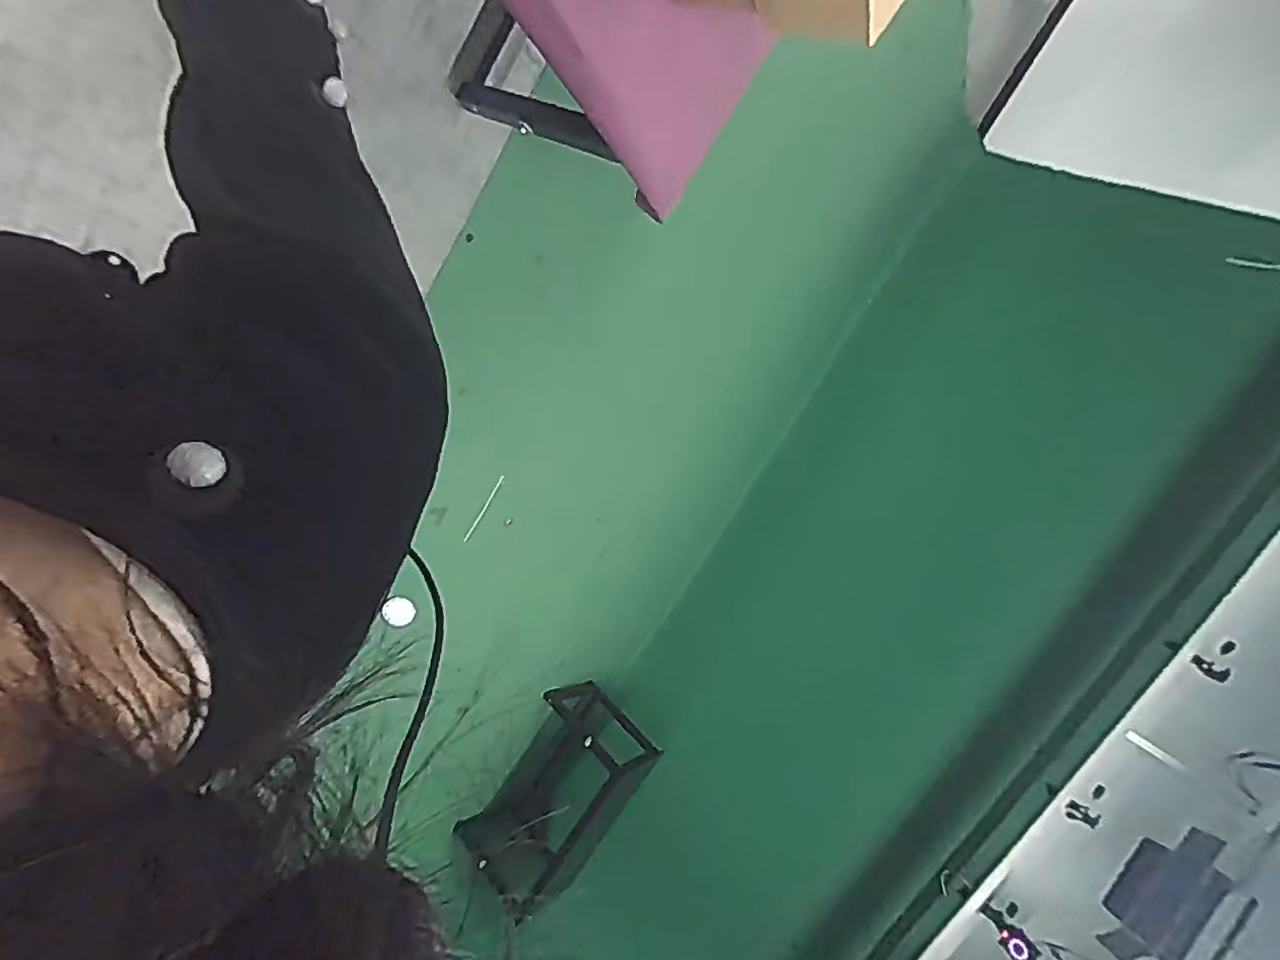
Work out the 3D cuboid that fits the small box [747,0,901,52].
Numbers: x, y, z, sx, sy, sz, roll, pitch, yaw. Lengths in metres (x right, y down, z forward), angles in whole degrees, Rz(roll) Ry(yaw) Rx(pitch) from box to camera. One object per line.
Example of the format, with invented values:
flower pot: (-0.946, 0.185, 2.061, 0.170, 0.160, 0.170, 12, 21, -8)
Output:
small box: (0.229, -0.657, 0.633, 0.168, 0.176, 0.179, -54, 152, 0)
